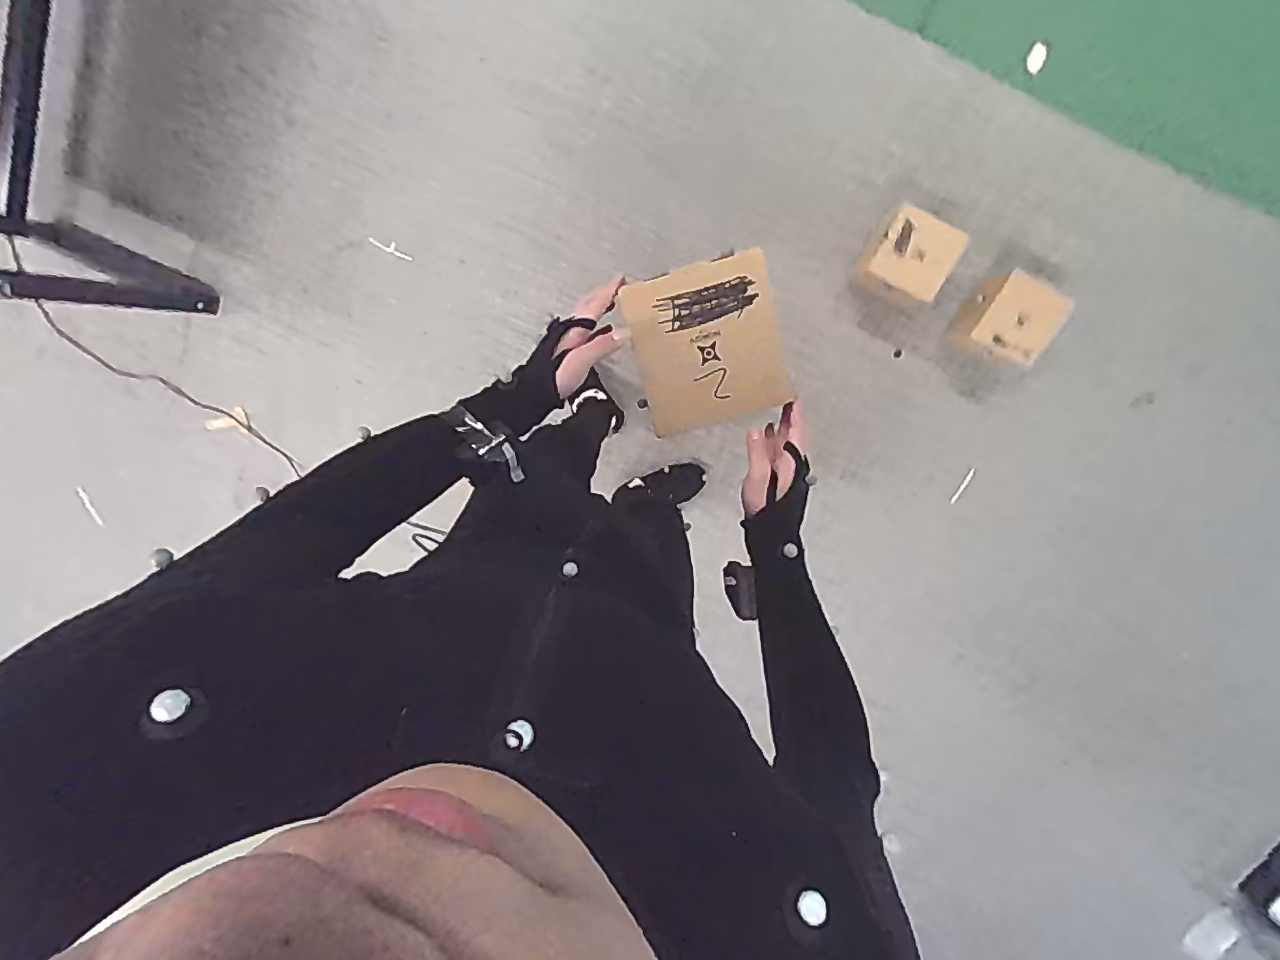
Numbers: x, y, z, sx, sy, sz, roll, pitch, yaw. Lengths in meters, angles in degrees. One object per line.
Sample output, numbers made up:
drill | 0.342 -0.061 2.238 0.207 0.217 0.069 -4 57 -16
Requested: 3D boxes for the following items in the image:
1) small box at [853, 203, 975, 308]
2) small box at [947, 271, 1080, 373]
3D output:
small box | 0.649 -0.531 1.310 0.179 0.176 0.168 28 105 -1
small box | 0.896 -0.379 1.319 0.168 0.176 0.179 29 104 -1
